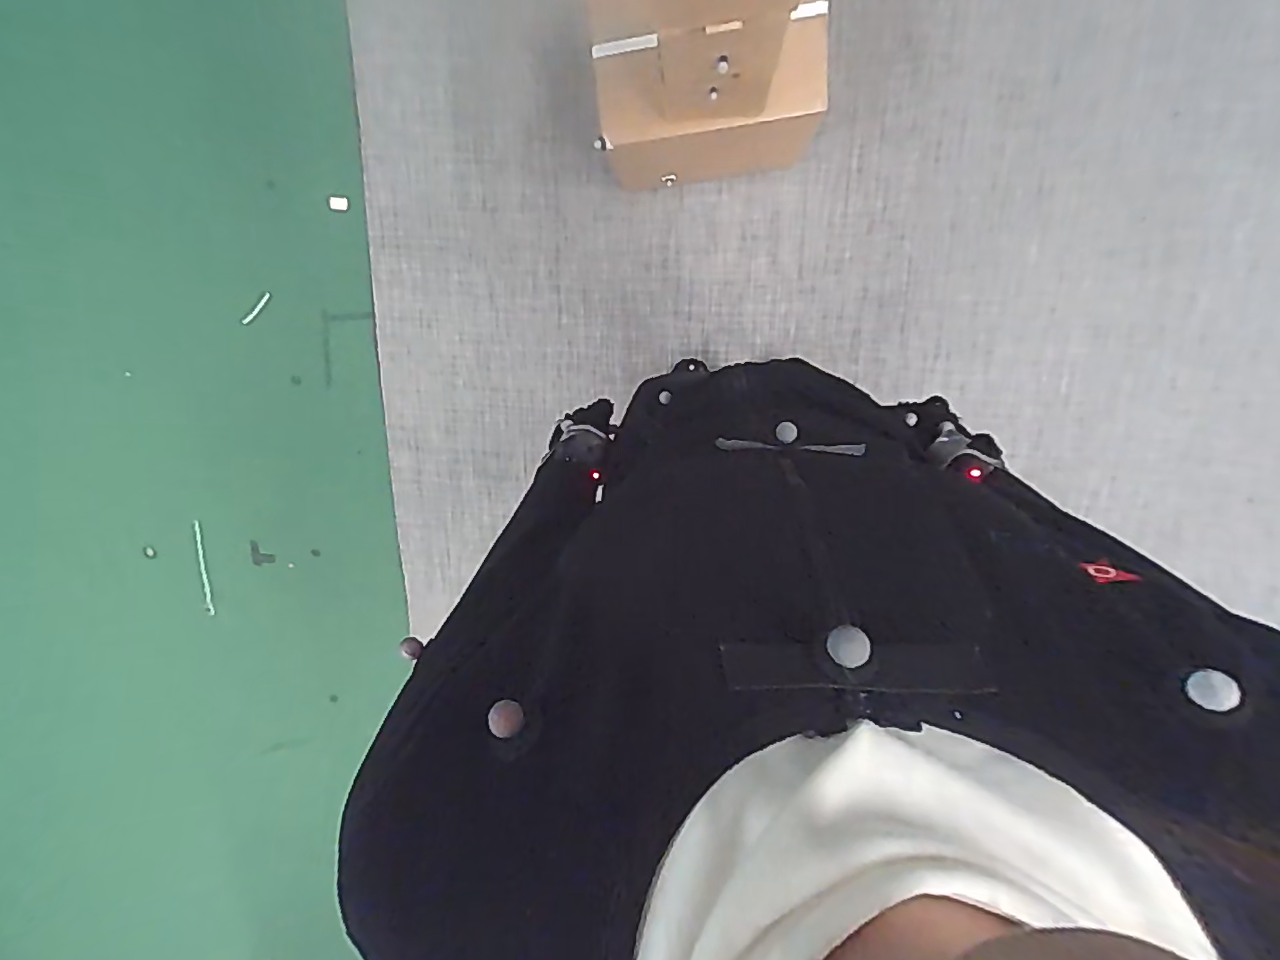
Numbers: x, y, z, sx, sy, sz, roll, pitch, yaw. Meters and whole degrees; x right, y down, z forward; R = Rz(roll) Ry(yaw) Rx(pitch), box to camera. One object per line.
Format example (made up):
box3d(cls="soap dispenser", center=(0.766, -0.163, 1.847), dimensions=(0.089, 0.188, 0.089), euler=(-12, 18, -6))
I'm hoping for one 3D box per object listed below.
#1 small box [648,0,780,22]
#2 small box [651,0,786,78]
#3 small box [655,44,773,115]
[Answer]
box3d(cls="small box", center=(0.086, -0.615, 0.552), dimensions=(0.179, 0.176, 0.168), euler=(-1, 105, 9))
box3d(cls="small box", center=(0.101, -0.662, 0.710), dimensions=(0.168, 0.176, 0.179), euler=(-3, 106, 8))
box3d(cls="small box", center=(0.117, -0.710, 0.865), dimensions=(0.179, 0.176, 0.168), euler=(-1, 106, 6))
